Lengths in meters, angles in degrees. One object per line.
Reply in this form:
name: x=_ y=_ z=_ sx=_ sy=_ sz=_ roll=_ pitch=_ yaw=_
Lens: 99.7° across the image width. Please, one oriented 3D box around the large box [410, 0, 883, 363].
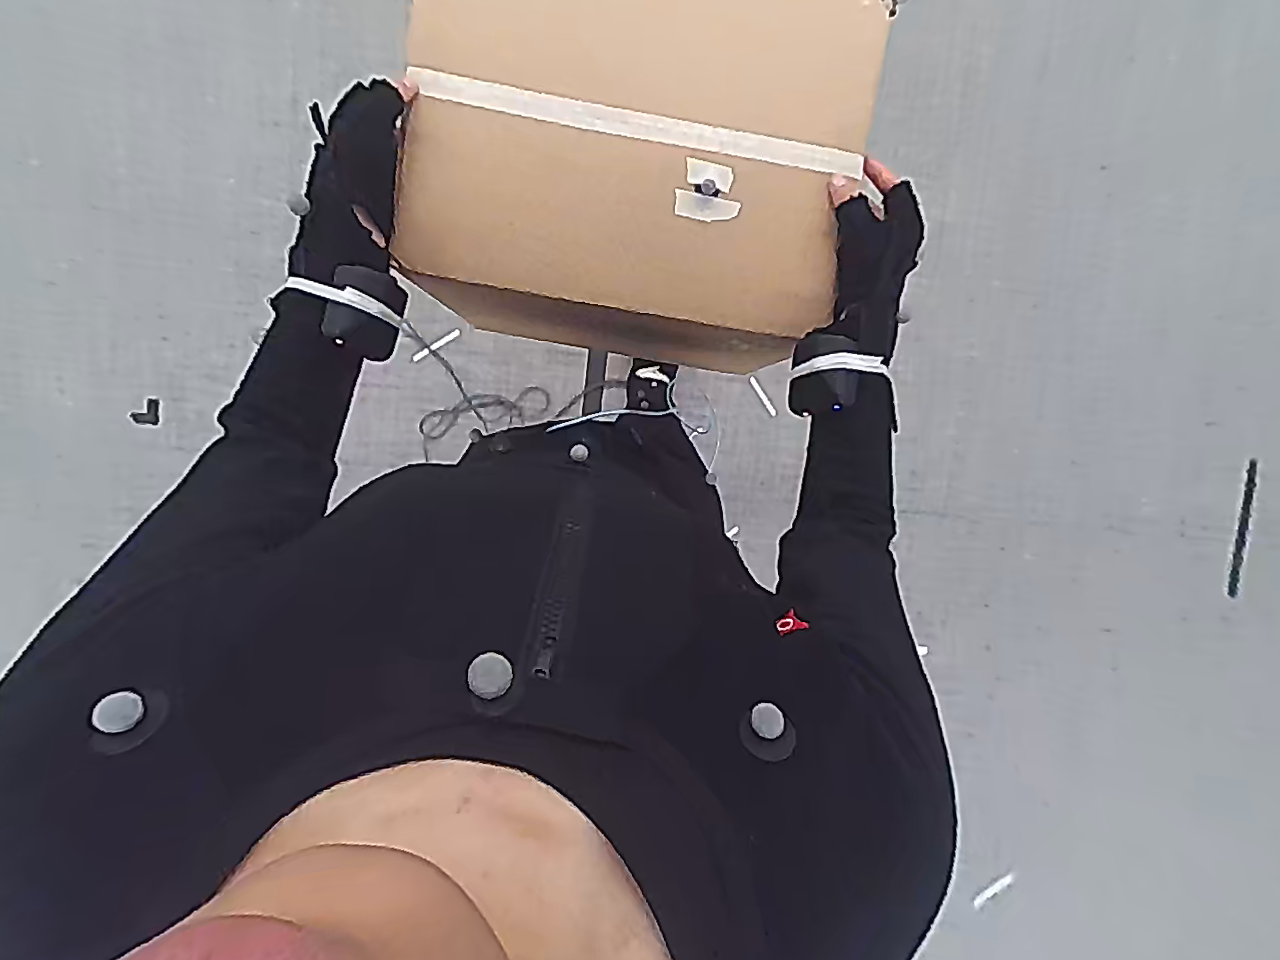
large box: x=-0.005 y=-0.336 z=0.639 sx=0.408 sy=0.320 sz=0.320 roll=9 pitch=96 yaw=-5
